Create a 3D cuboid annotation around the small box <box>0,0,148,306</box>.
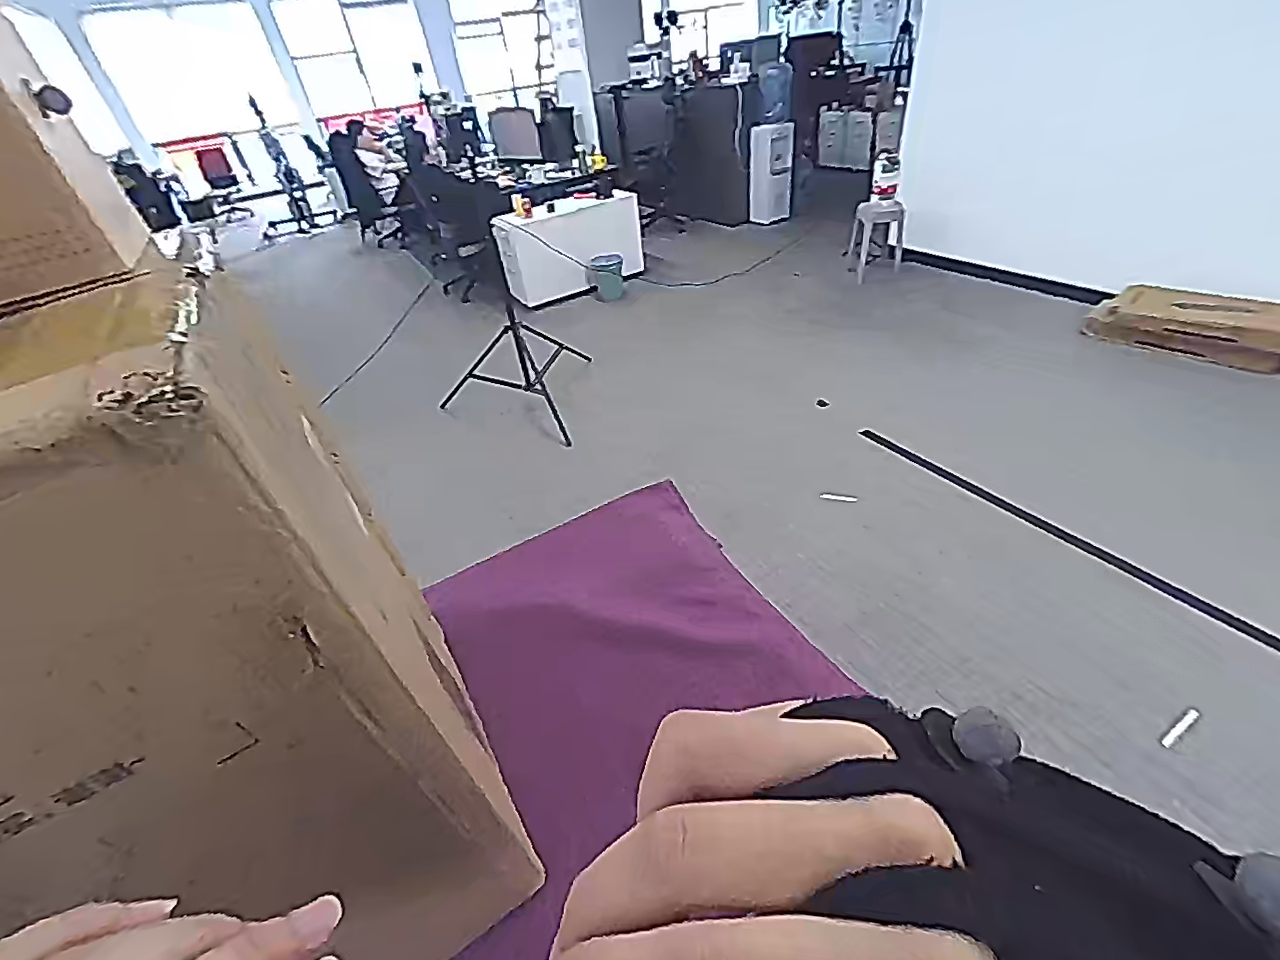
[{"bbox_3d":[-0.442,-0.194,0.315,0.179,0.176,0.168,-28,42,-21],"label":"small box"}]
